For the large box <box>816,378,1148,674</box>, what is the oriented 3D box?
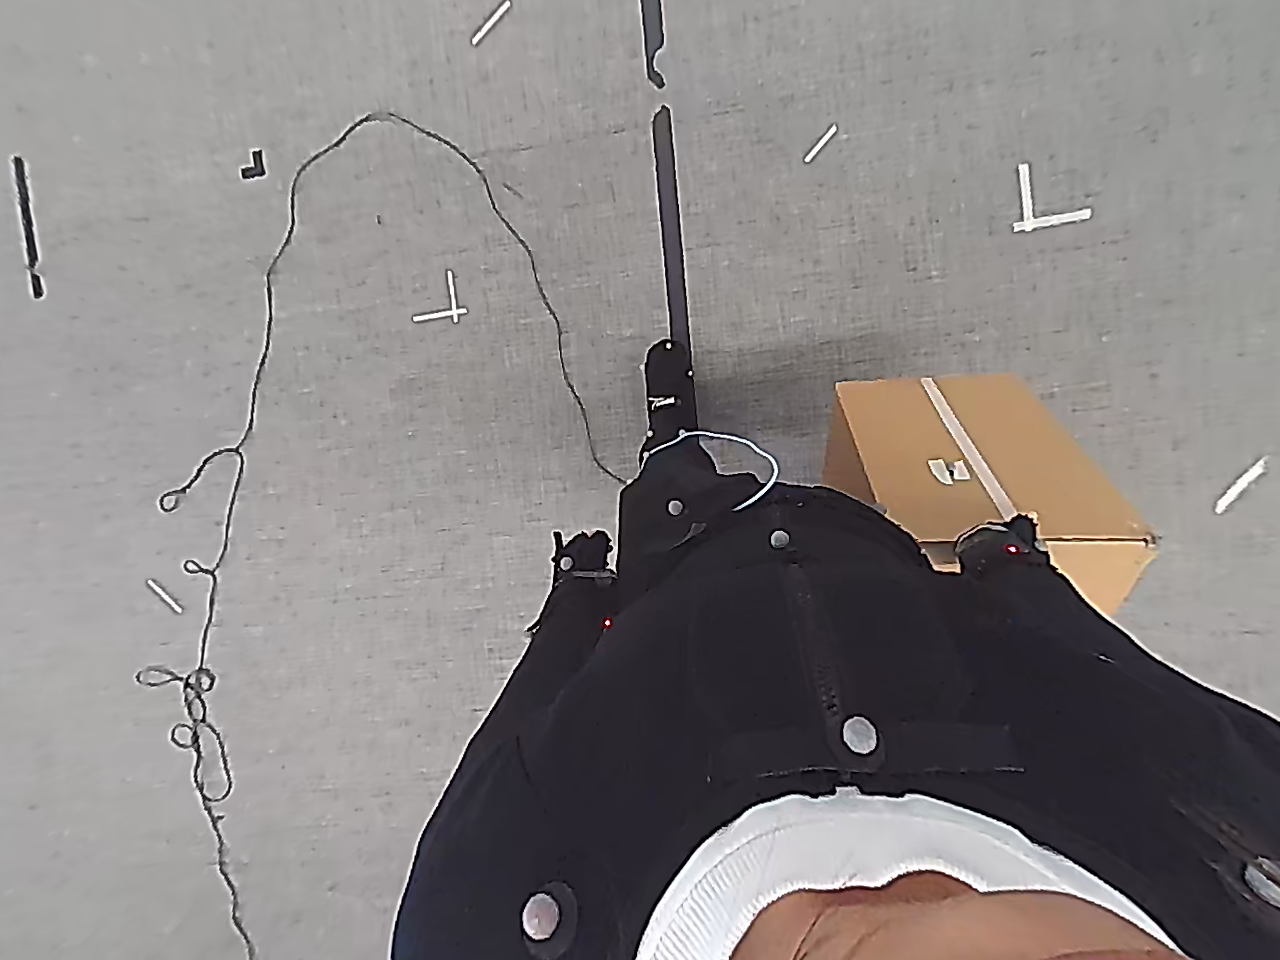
[{"bbox_3d":[0.500,0.066,0.919,0.320,0.408,0.320,-3,131,9],"label":"large box"}]
